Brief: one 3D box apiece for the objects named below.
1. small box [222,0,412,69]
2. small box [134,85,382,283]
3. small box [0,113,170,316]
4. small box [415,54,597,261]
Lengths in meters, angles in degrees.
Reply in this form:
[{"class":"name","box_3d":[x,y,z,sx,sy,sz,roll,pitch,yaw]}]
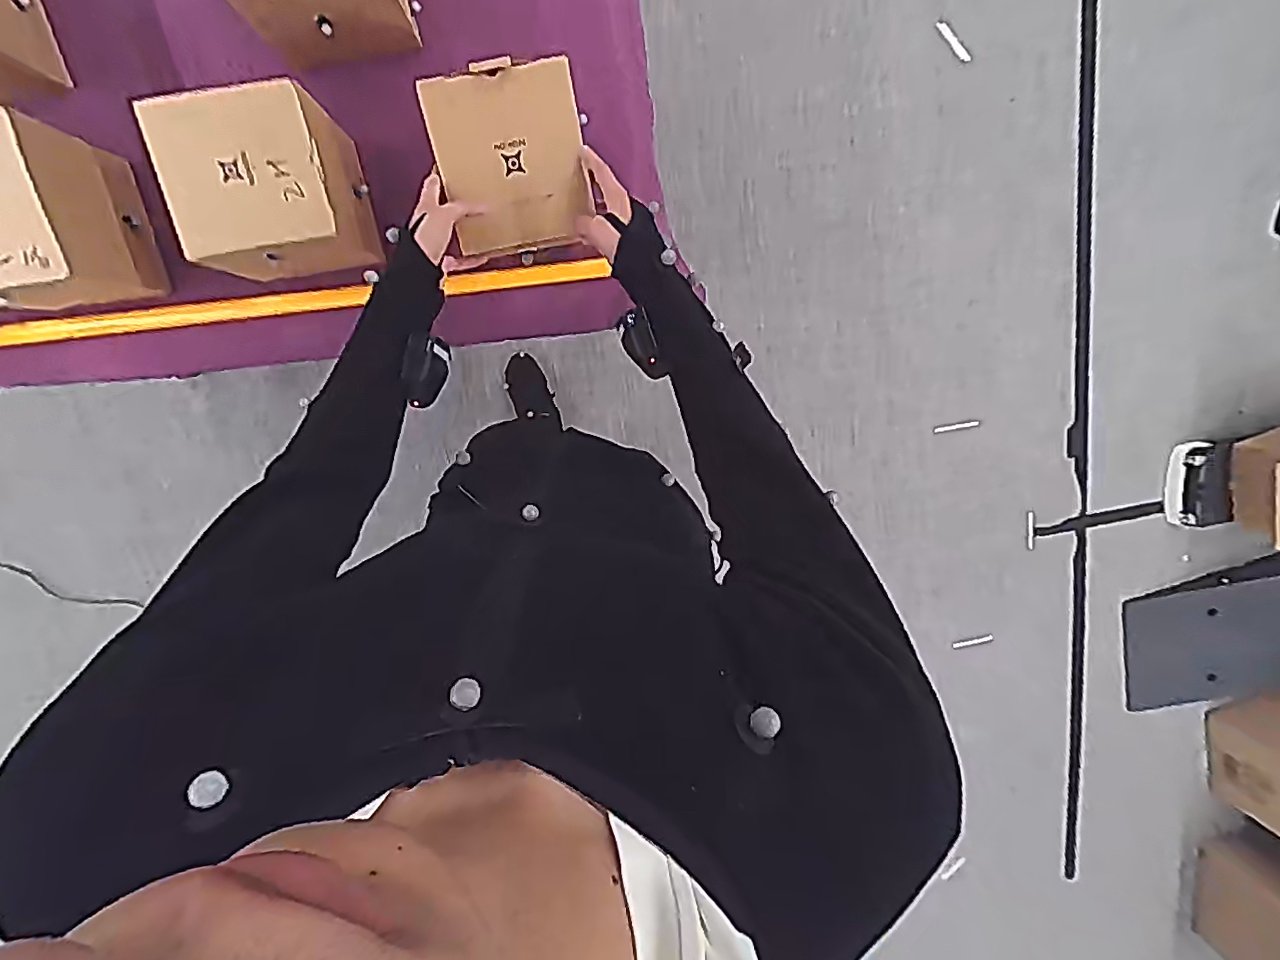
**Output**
[{"class":"small box","box_3d":[-0.388,-0.625,0.635,0.179,0.176,0.168,-13,105,-3]},{"class":"small box","box_3d":[-0.461,-0.358,0.685,0.179,0.176,0.168,-12,102,-5]},{"class":"small box","box_3d":[-0.742,-0.308,0.662,0.168,0.176,0.179,-10,103,-3]},{"class":"small box","box_3d":[-0.154,-0.382,0.673,0.168,0.176,0.179,-12,110,-2]}]
